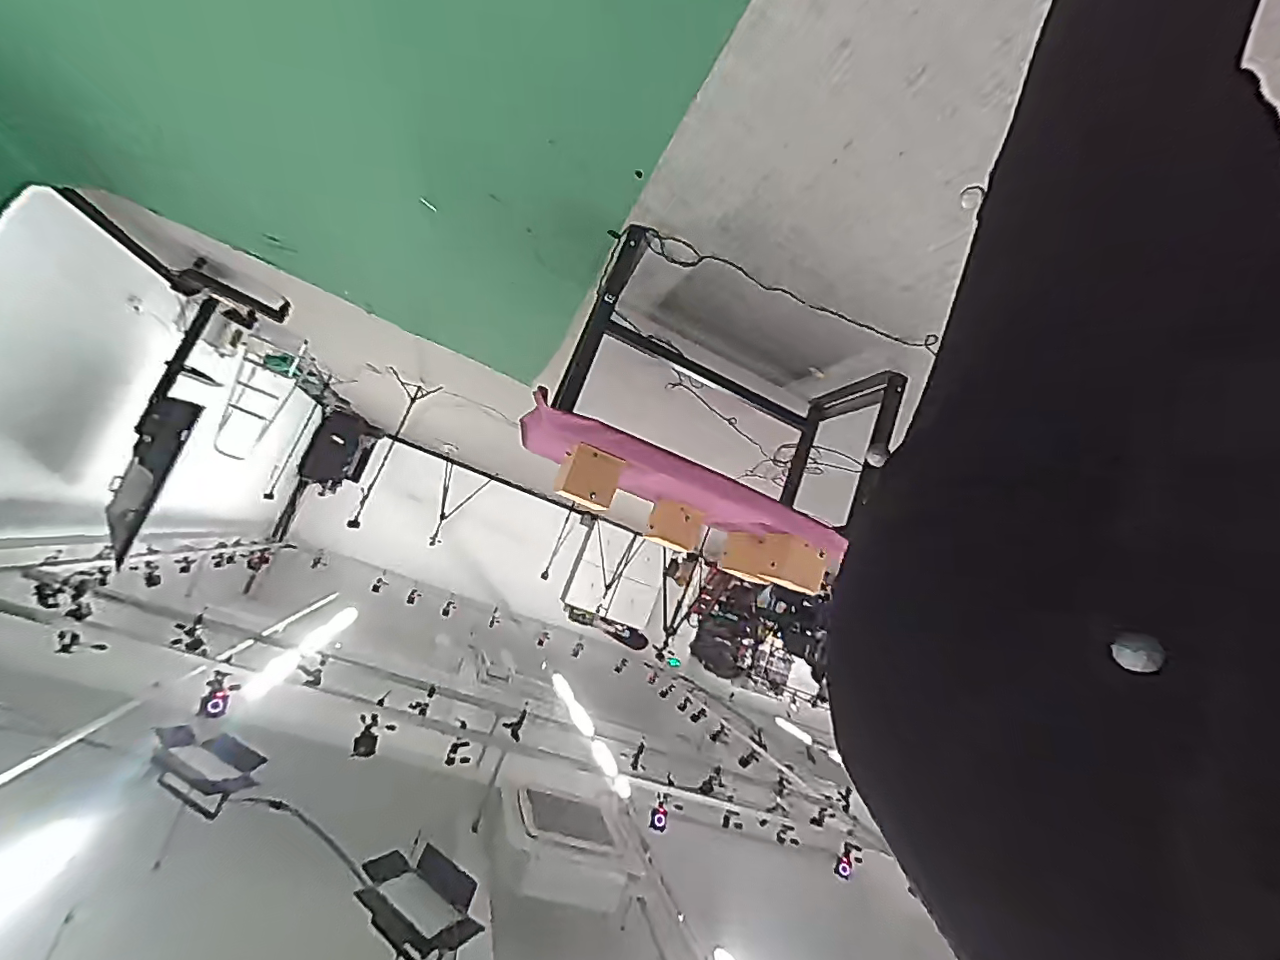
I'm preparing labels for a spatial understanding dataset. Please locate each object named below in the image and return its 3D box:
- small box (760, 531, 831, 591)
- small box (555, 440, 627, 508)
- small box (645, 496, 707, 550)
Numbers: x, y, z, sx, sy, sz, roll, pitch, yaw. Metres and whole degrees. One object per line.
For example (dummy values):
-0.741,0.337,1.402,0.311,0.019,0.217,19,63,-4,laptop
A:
0.568,0.290,1.963,0.168,0.176,0.179,24,170,-15,small box
-0.159,-0.018,1.754,0.168,0.176,0.179,22,172,-17,small box
0.147,0.172,2.166,0.168,0.176,0.179,24,168,-15,small box
